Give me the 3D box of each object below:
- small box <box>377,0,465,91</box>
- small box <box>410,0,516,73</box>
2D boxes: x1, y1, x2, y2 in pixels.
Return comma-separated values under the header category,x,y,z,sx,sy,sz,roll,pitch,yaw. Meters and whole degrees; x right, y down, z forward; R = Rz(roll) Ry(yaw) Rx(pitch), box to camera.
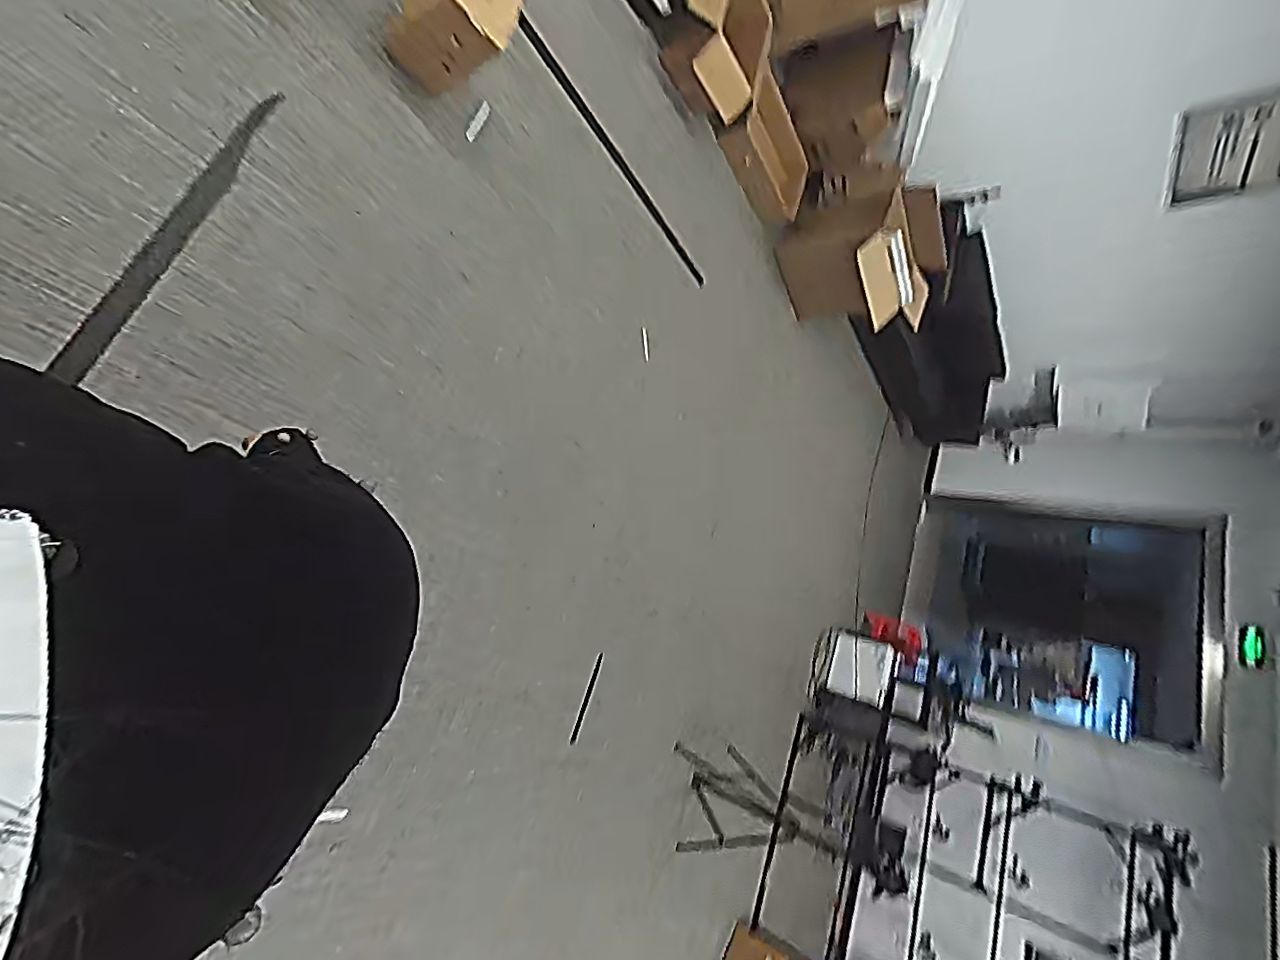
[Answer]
category,x,y,z,sx,sy,sz,roll,pitch,yaw
small box,-0.571,-1.201,1.466,0.179,0.176,0.168,29,72,-48
small box,-0.449,-1.182,1.358,0.168,0.176,0.179,27,74,-49
